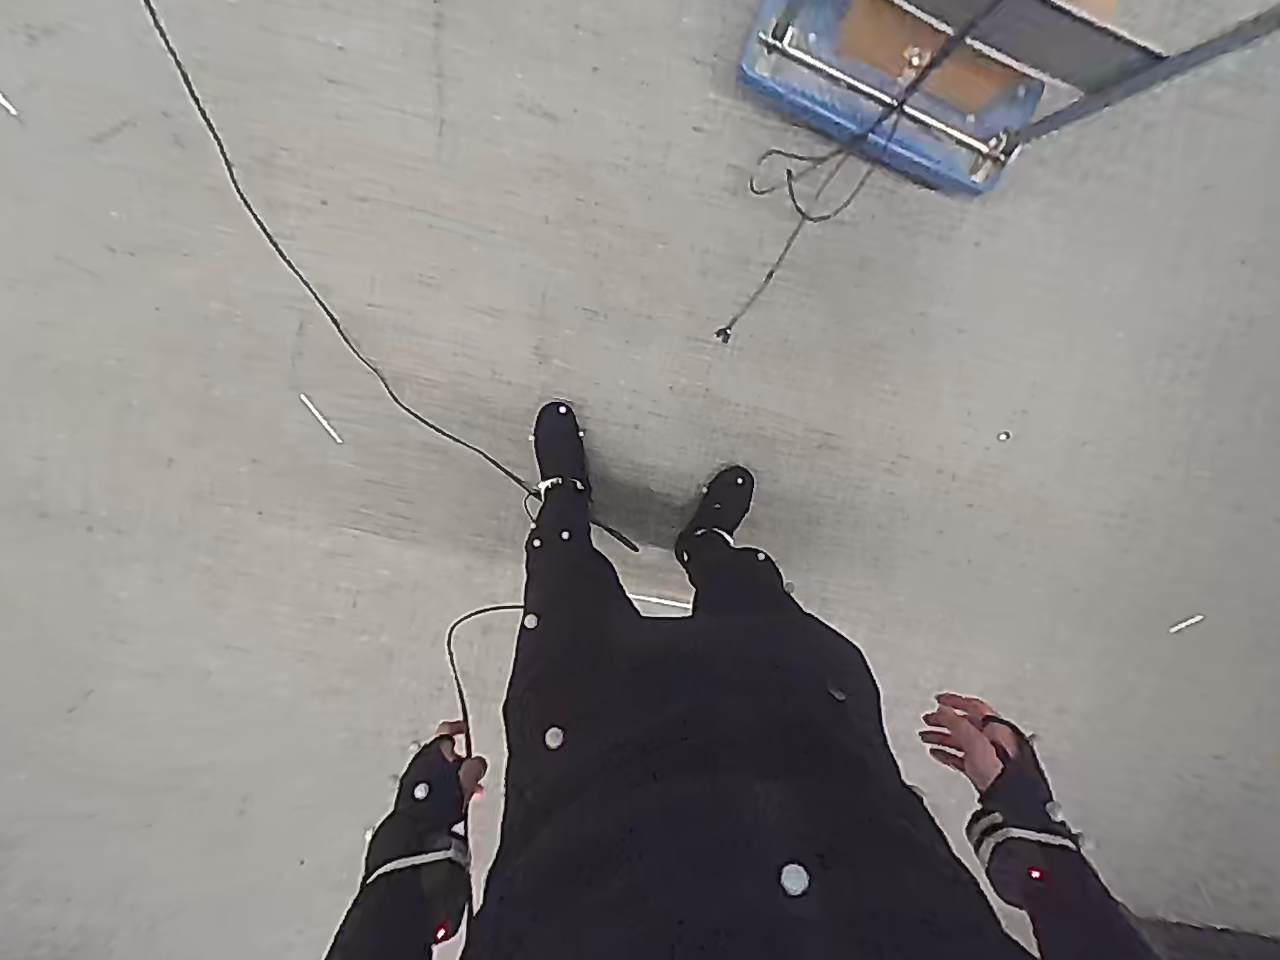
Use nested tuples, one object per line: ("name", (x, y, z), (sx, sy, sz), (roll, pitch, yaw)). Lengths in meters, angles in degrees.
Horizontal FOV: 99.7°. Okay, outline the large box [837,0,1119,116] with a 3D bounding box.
("large box", (0.576, -0.898, 0.852), (0.320, 0.320, 0.408), (20, 101, -7))
